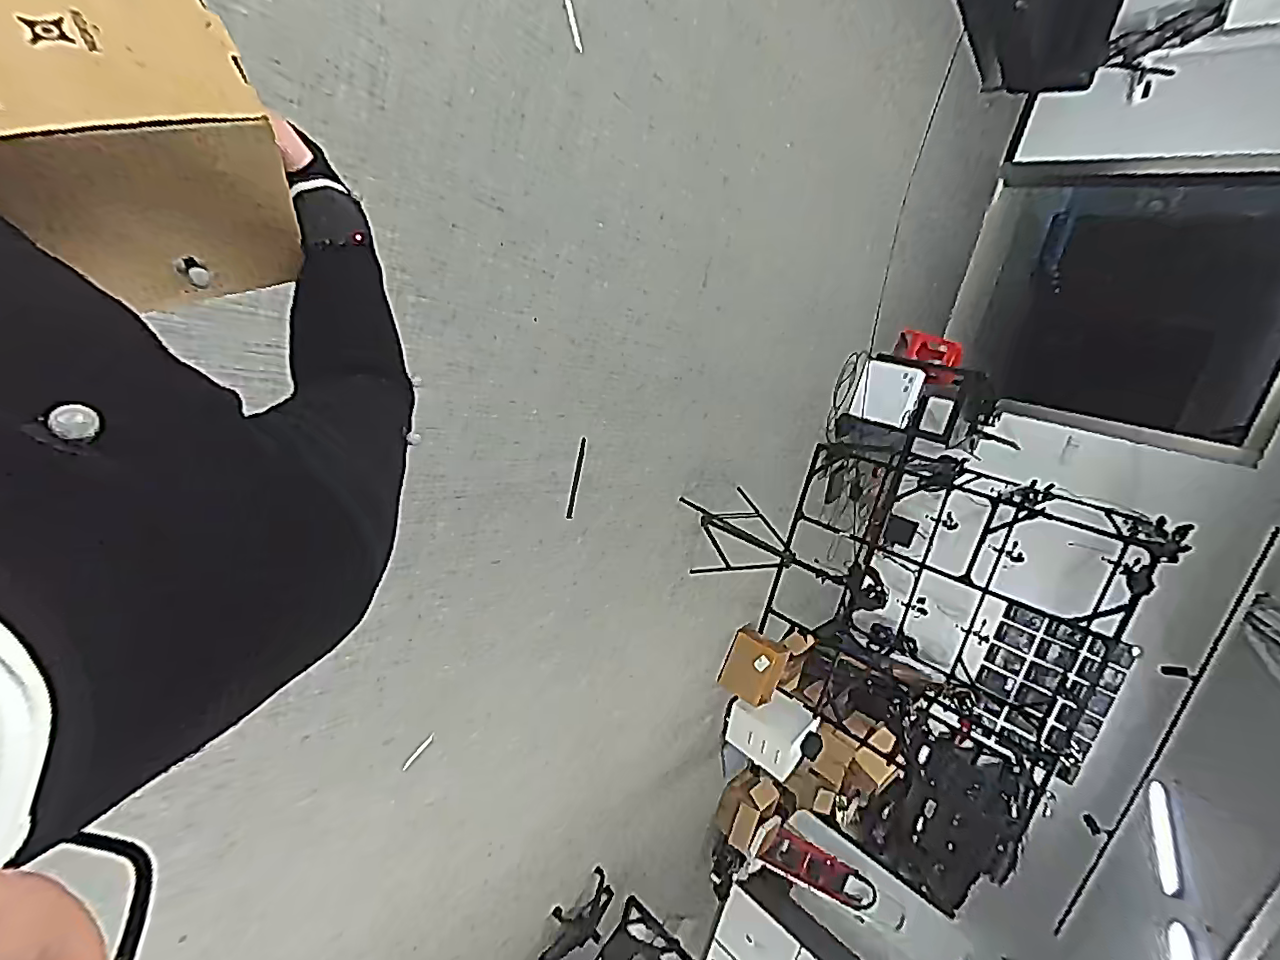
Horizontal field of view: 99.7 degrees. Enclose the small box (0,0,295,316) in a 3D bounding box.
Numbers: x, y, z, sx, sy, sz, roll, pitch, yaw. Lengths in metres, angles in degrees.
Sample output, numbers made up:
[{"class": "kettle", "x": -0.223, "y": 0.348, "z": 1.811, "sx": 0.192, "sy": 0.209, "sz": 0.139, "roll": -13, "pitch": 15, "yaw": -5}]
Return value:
[{"class": "small box", "x": -0.408, "y": -0.263, "z": 0.438, "sx": 0.179, "sy": 0.168, "sz": 0.176, "roll": -28, "pitch": 171, "yaw": -30}]
